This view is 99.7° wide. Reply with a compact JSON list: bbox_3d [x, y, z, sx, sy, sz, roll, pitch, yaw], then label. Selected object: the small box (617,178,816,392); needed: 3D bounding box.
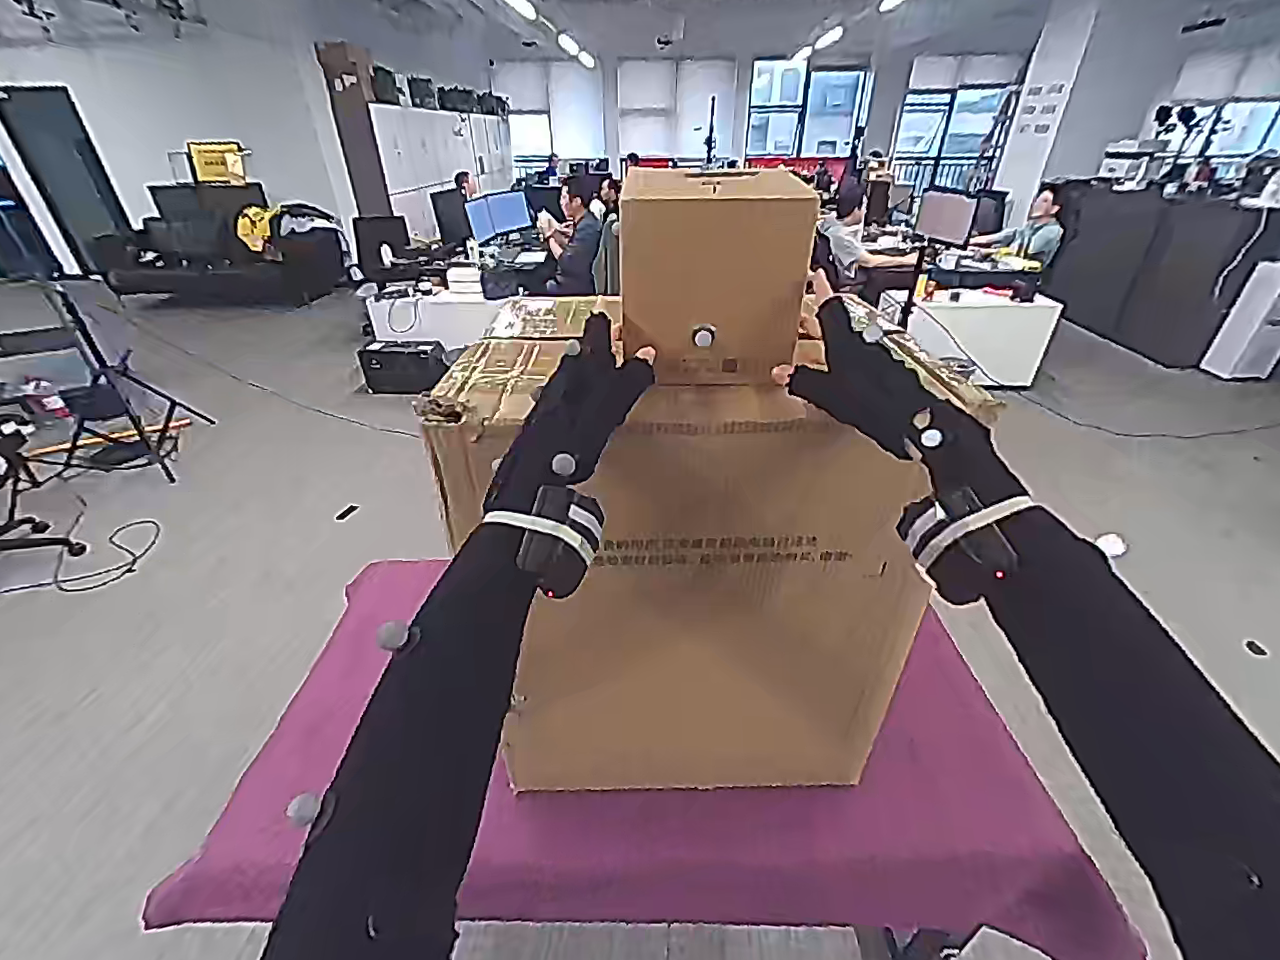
[{"bbox_3d":[0.067,-0.204,0.553,0.168,0.176,0.179,0,36,3],"label":"small box"}]
